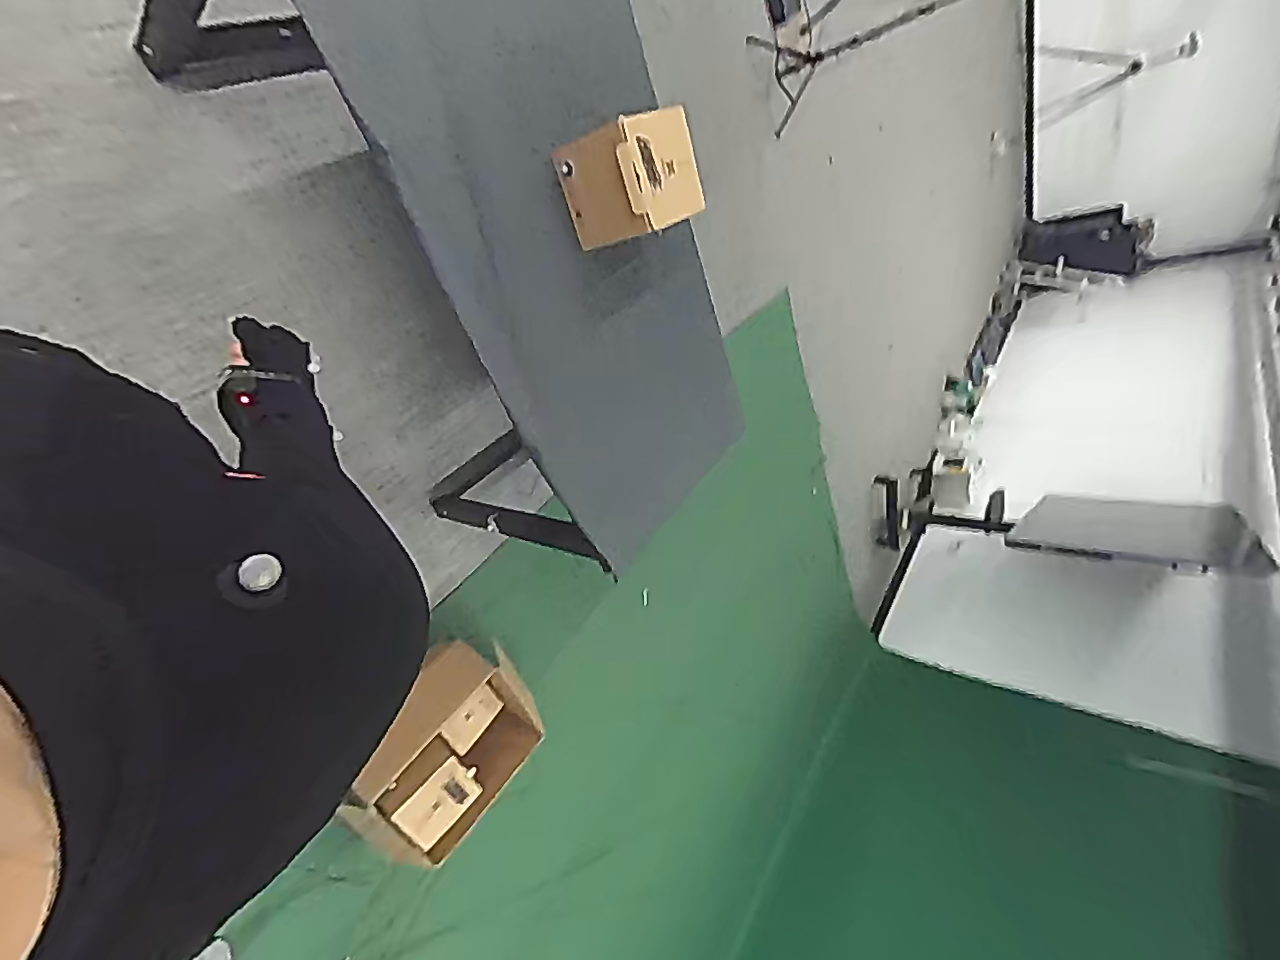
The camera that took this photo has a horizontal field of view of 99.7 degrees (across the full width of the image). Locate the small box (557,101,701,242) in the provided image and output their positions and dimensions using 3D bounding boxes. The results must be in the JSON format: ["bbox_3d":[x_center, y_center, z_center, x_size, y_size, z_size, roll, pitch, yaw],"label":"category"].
[{"bbox_3d":[-0.023,-0.534,0.948,0.179,0.176,0.168,-42,125,-37],"label":"small box"}]
